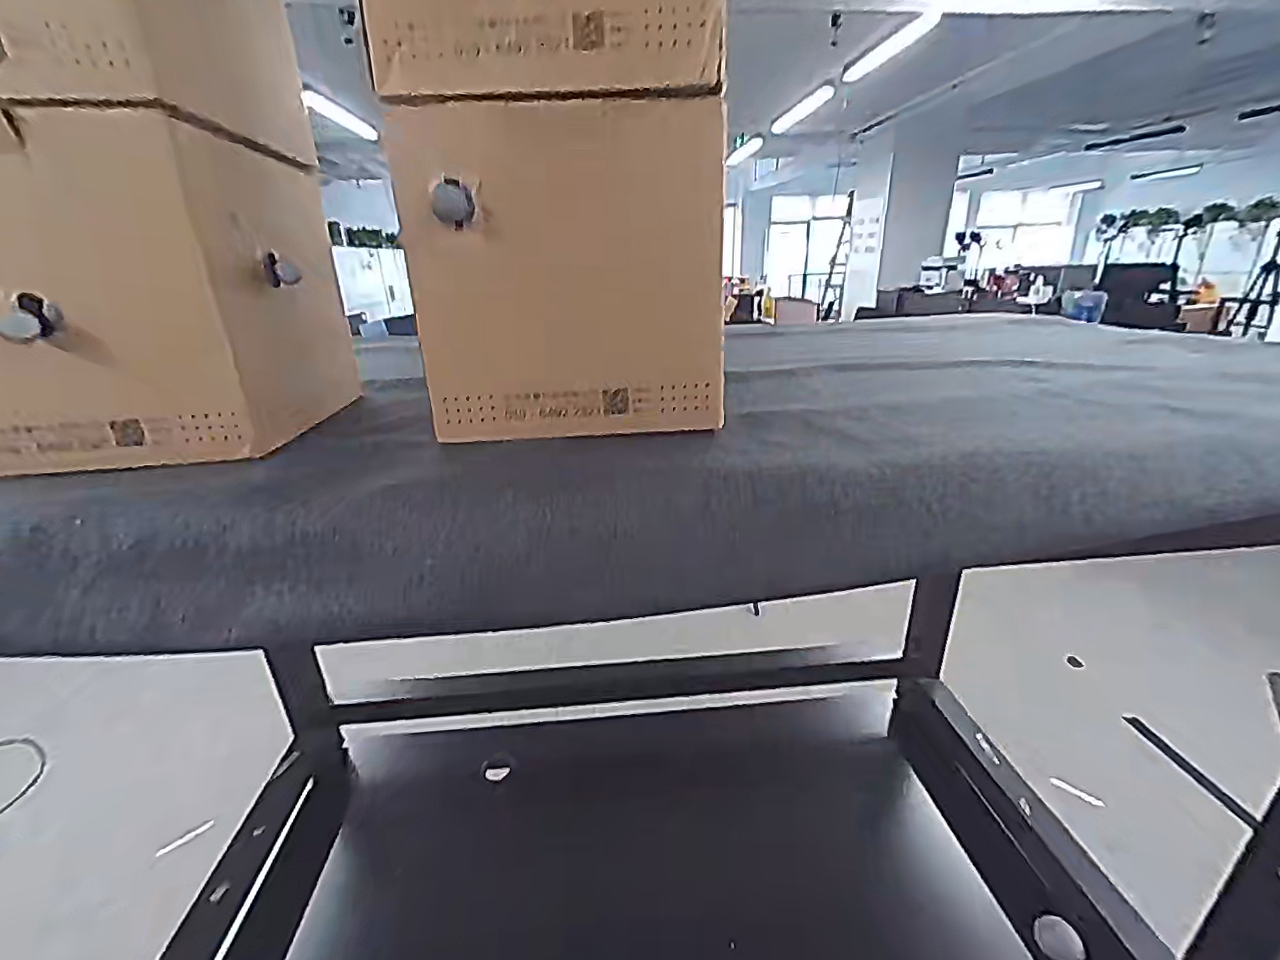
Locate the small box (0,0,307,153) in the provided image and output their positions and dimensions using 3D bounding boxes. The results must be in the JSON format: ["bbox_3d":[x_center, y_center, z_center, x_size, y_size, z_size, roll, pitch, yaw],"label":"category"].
[{"bbox_3d":[-0.300,-0.269,0.276,0.168,0.176,0.179,-6,21,-7],"label":"small box"}]

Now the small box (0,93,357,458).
[{"bbox_3d":[-0.297,-0.114,0.332,0.168,0.176,0.179,-4,21,-8],"label":"small box"}]

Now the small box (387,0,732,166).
[{"bbox_3d":[-0.039,-0.288,0.304,0.168,0.176,0.179,-1,20,2],"label":"small box"}]
